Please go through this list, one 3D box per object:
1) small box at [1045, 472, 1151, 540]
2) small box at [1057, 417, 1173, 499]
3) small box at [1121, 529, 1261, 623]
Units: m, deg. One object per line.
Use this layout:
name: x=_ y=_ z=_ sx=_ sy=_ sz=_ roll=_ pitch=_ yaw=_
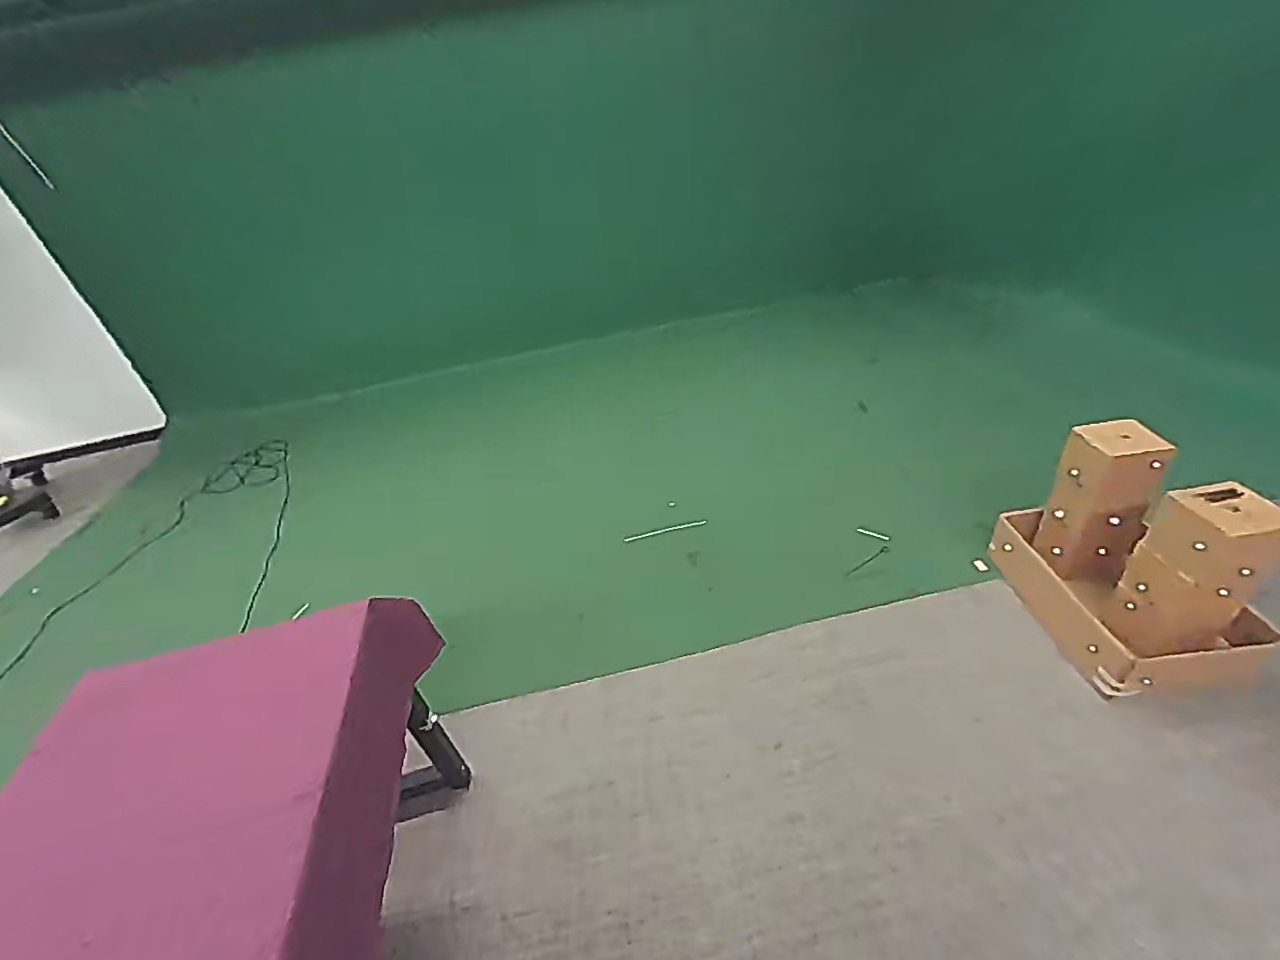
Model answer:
small box: x=1.427 y=0.070 z=1.699 sx=0.179 sy=0.176 sz=0.168 roll=-8 pitch=36 yaw=7
small box: x=1.397 y=-0.064 z=1.606 sx=0.179 sy=0.176 sz=0.168 roll=-8 pitch=36 yaw=5
small box: x=1.443 y=0.255 z=1.432 sx=0.179 sy=0.176 sz=0.168 roll=-9 pitch=34 yaw=4
